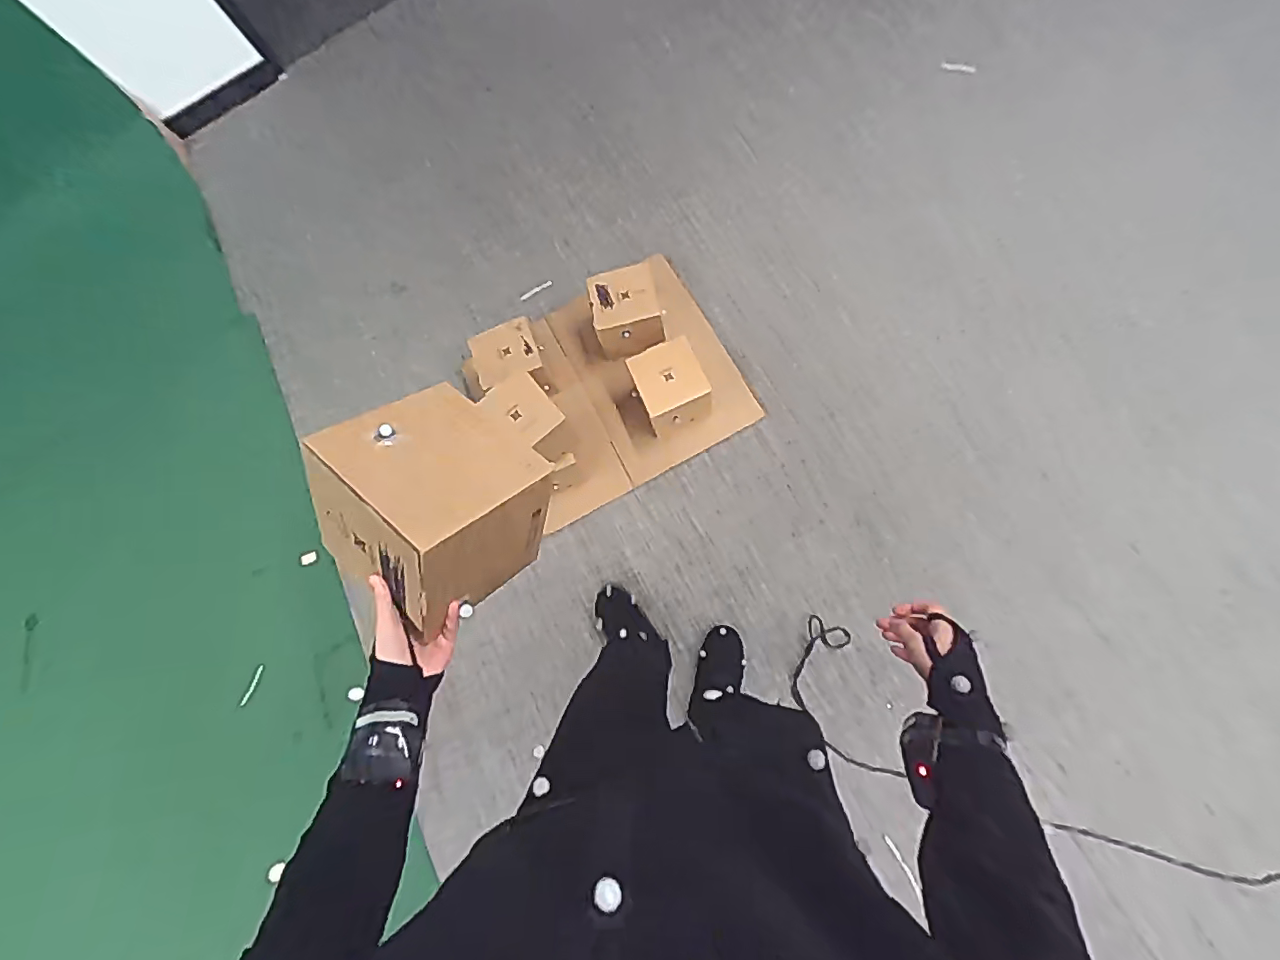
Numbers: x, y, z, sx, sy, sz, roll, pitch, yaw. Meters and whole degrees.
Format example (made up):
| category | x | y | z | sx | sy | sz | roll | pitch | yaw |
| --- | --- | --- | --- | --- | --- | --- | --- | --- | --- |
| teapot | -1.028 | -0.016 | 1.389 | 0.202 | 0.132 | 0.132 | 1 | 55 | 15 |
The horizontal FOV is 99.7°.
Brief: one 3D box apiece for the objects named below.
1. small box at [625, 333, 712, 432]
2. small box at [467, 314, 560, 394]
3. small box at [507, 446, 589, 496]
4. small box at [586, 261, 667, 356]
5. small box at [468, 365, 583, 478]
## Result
| category | x | y | z | sx | sy | sz | roll | pitch | yaw |
| --- | --- | --- | --- | --- | --- | --- | --- | --- | --- |
| small box | 0.081 | -0.241 | 1.403 | 0.168 | 0.176 | 0.179 | -24 | 73 | 2 |
| small box | -0.345 | -0.318 | 1.496 | 0.179 | 0.176 | 0.168 | -22 | 74 | 4 |
| small box | -0.248 | -0.070 | 1.418 | 0.168 | 0.176 | 0.179 | -23 | 73 | 3 |
| small box | -0.033 | -0.459 | 1.474 | 0.179 | 0.176 | 0.168 | -13 | 74 | 5 |
| small box | -0.261 | -0.128 | 1.264 | 0.168 | 0.176 | 0.179 | -40 | 74 | -1 |
